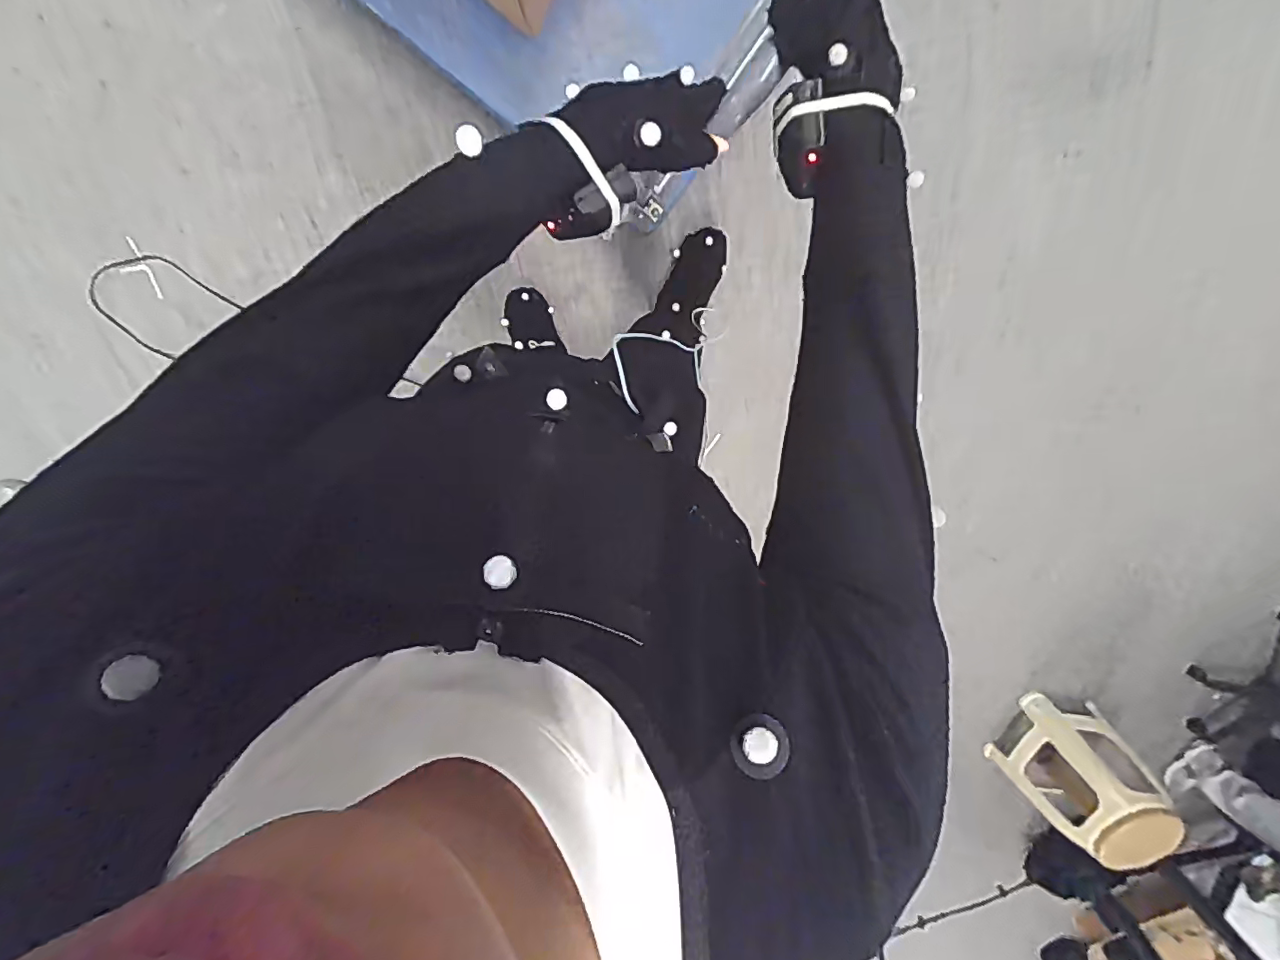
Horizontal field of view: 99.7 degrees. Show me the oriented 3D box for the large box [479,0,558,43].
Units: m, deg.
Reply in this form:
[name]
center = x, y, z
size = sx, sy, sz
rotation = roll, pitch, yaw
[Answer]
[large box]
center = -0.190, -0.956, 0.749
size = 0.320, 0.320, 0.408
rotation = 32, 108, -17
